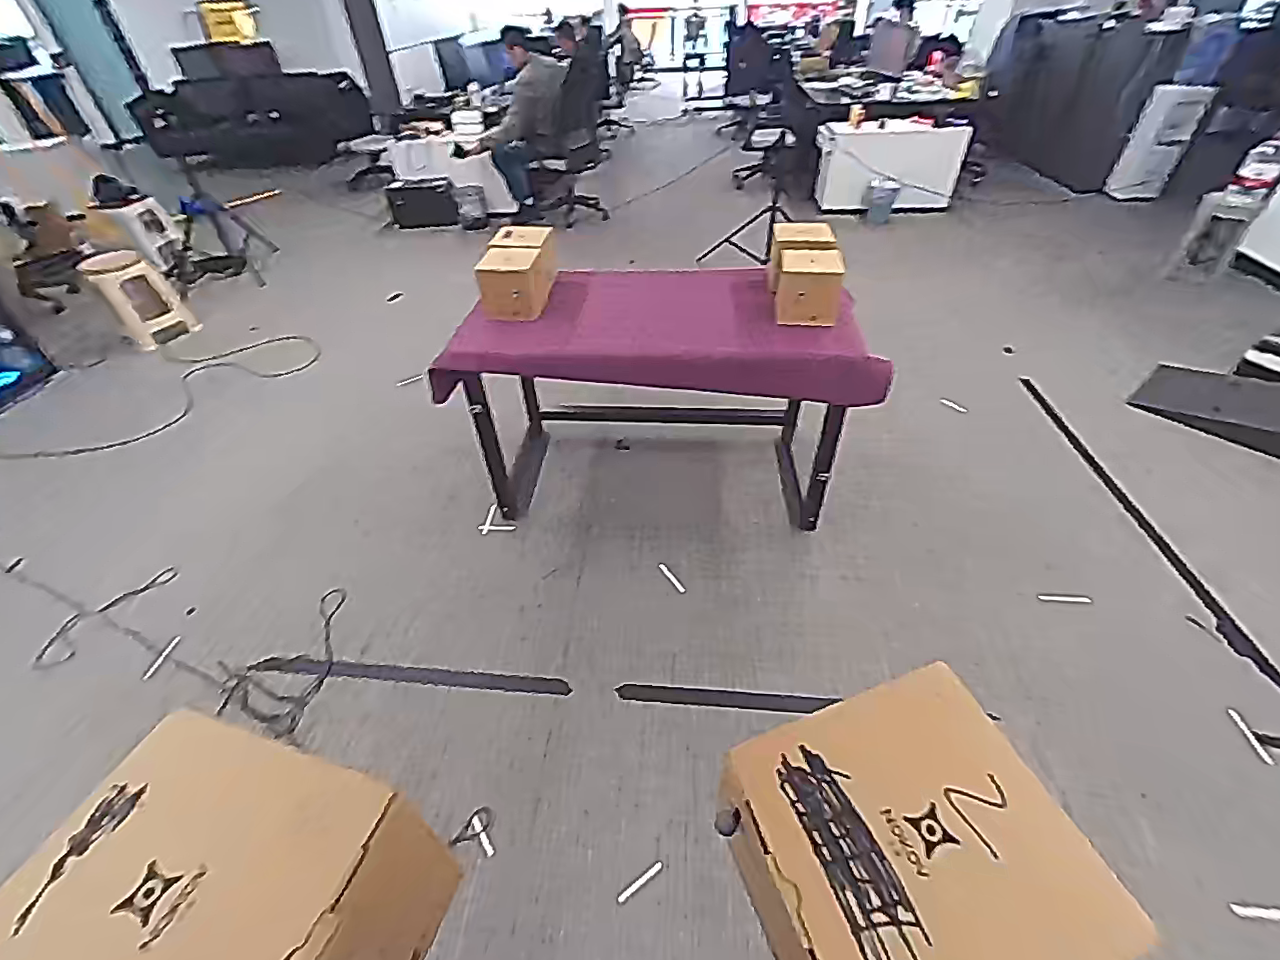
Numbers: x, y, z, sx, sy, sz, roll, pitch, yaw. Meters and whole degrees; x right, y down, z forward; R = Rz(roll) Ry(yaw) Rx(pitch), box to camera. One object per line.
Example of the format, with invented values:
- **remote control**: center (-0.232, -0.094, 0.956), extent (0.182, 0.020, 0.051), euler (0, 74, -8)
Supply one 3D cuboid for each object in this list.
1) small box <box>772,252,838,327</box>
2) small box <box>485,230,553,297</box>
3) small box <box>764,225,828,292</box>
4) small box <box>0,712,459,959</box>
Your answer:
- **small box**: center (0.495, -0.578, 1.641), extent (0.168, 0.176, 0.179), euler (4, 42, 9)
- **small box**: center (-0.409, -0.743, 1.860), extent (0.179, 0.176, 0.168), euler (4, 45, 5)
- **small box**: center (0.512, -0.734, 1.800), extent (0.179, 0.176, 0.168), euler (3, 44, 5)
- **small box**: center (-0.238, 0.279, 0.331), extent (0.179, 0.176, 0.168), euler (11, 43, 13)
